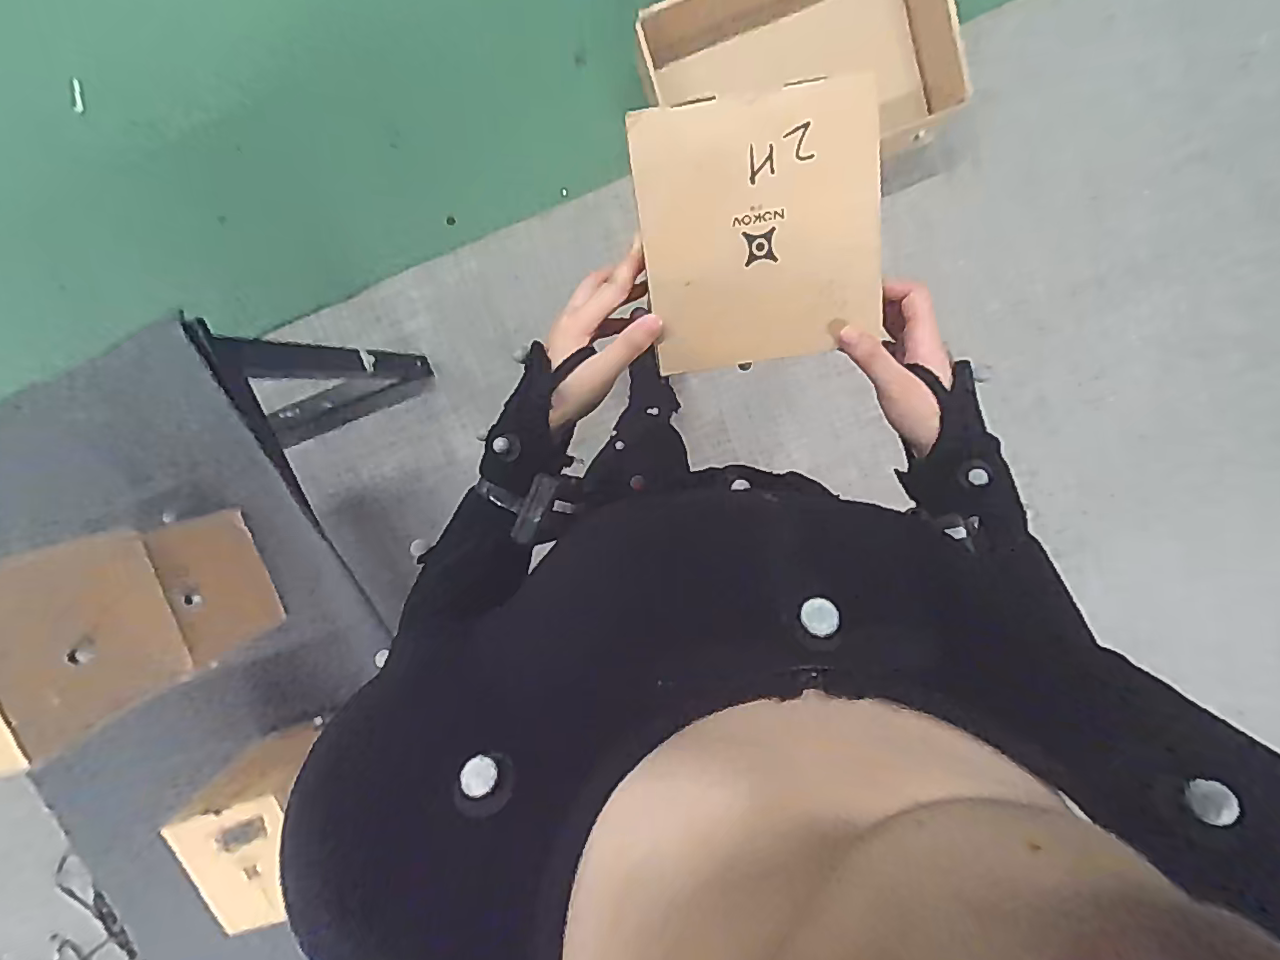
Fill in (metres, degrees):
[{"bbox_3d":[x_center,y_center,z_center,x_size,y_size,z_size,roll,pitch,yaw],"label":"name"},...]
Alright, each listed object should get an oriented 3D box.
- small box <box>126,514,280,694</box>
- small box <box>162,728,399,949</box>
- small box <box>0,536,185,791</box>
[{"bbox_3d":[-0.606,0.161,0.684,0.168,0.176,0.179,-17,98,5],"label":"small box"},{"bbox_3d":[-0.467,0.467,0.733,0.168,0.176,0.179,-19,100,7],"label":"small box"},{"bbox_3d":[-0.600,0.174,0.519,0.168,0.176,0.179,-14,100,5],"label":"small box"}]
